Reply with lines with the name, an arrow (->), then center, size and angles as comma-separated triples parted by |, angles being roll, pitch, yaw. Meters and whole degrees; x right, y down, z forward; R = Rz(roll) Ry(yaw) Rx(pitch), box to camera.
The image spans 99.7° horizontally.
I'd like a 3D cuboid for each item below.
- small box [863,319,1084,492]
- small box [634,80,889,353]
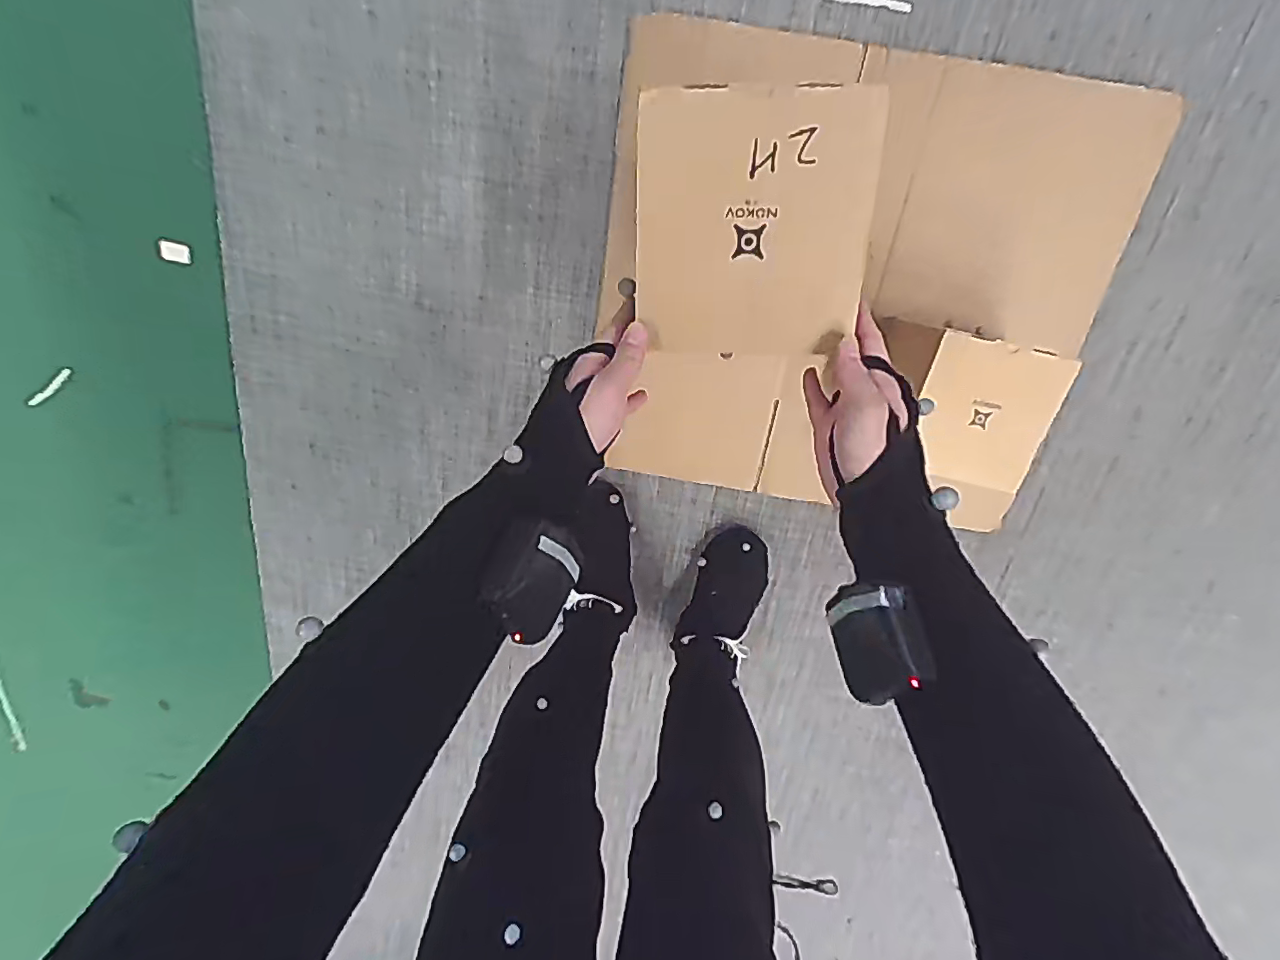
small box -> 0.421, -0.108, 0.723 | 0.168, 0.176, 0.179 | 12, 110, 0
small box -> 0.086, -0.211, 0.461 | 0.168, 0.176, 0.179 | 3, 111, 4
